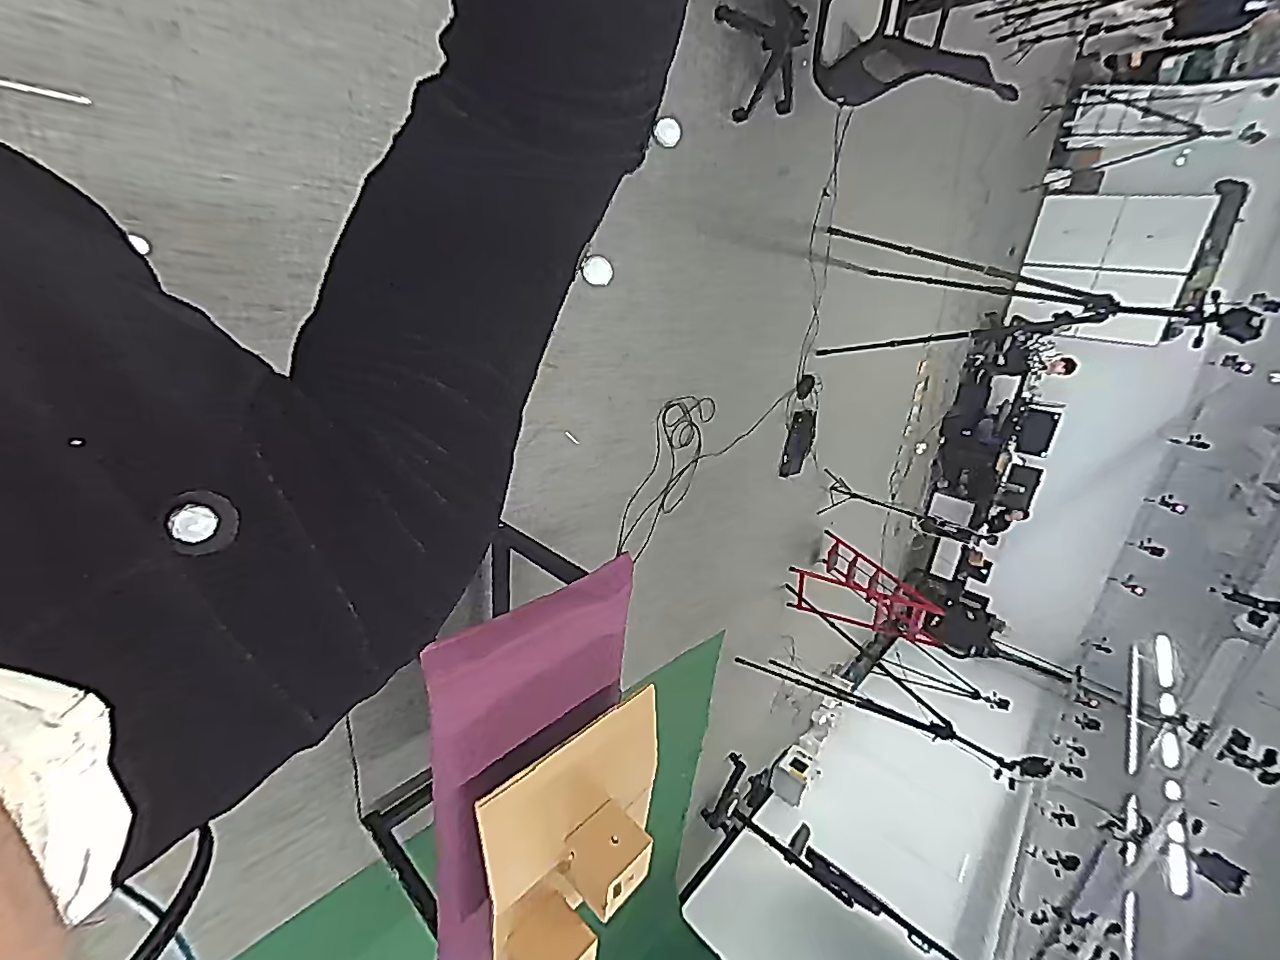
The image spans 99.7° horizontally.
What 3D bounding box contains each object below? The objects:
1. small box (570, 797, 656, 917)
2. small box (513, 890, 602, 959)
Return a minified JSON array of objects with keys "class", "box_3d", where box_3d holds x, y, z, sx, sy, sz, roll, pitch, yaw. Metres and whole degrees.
[{"class":"small box","box_3d":[-0.081,1.051,1.520,0.179,0.176,0.168,-20,125,-45]},{"class":"small box","box_3d":[-0.227,1.286,1.477,0.179,0.176,0.168,-19,124,-44]}]
